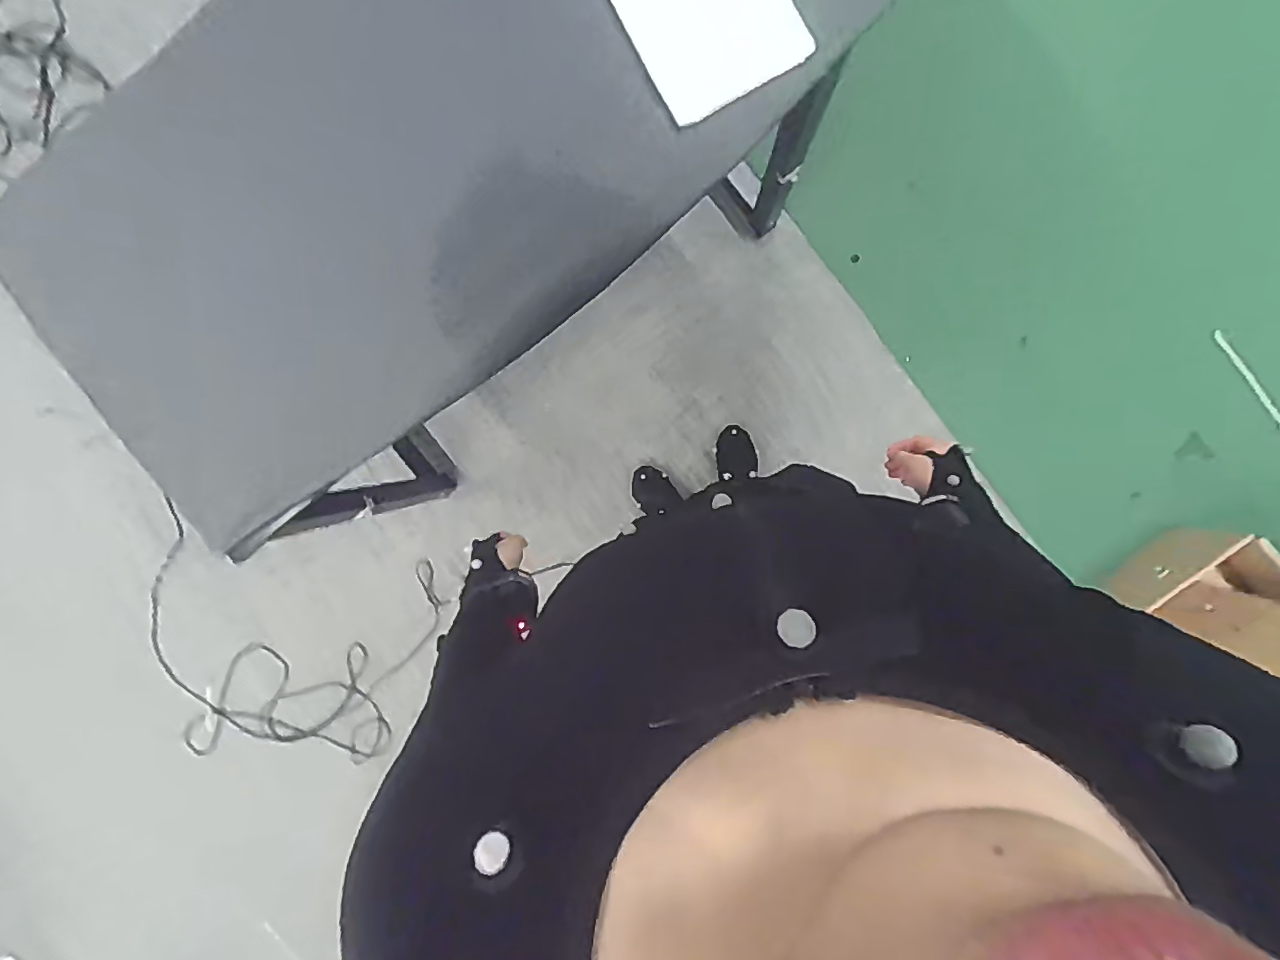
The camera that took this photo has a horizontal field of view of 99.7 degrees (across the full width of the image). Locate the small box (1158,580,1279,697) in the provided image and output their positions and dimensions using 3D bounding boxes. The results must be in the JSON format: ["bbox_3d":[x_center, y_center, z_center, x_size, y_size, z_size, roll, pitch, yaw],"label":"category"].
[{"bbox_3d":[1.402,0.361,1.271,0.179,0.176,0.168,-39,91,7],"label":"small box"}]
